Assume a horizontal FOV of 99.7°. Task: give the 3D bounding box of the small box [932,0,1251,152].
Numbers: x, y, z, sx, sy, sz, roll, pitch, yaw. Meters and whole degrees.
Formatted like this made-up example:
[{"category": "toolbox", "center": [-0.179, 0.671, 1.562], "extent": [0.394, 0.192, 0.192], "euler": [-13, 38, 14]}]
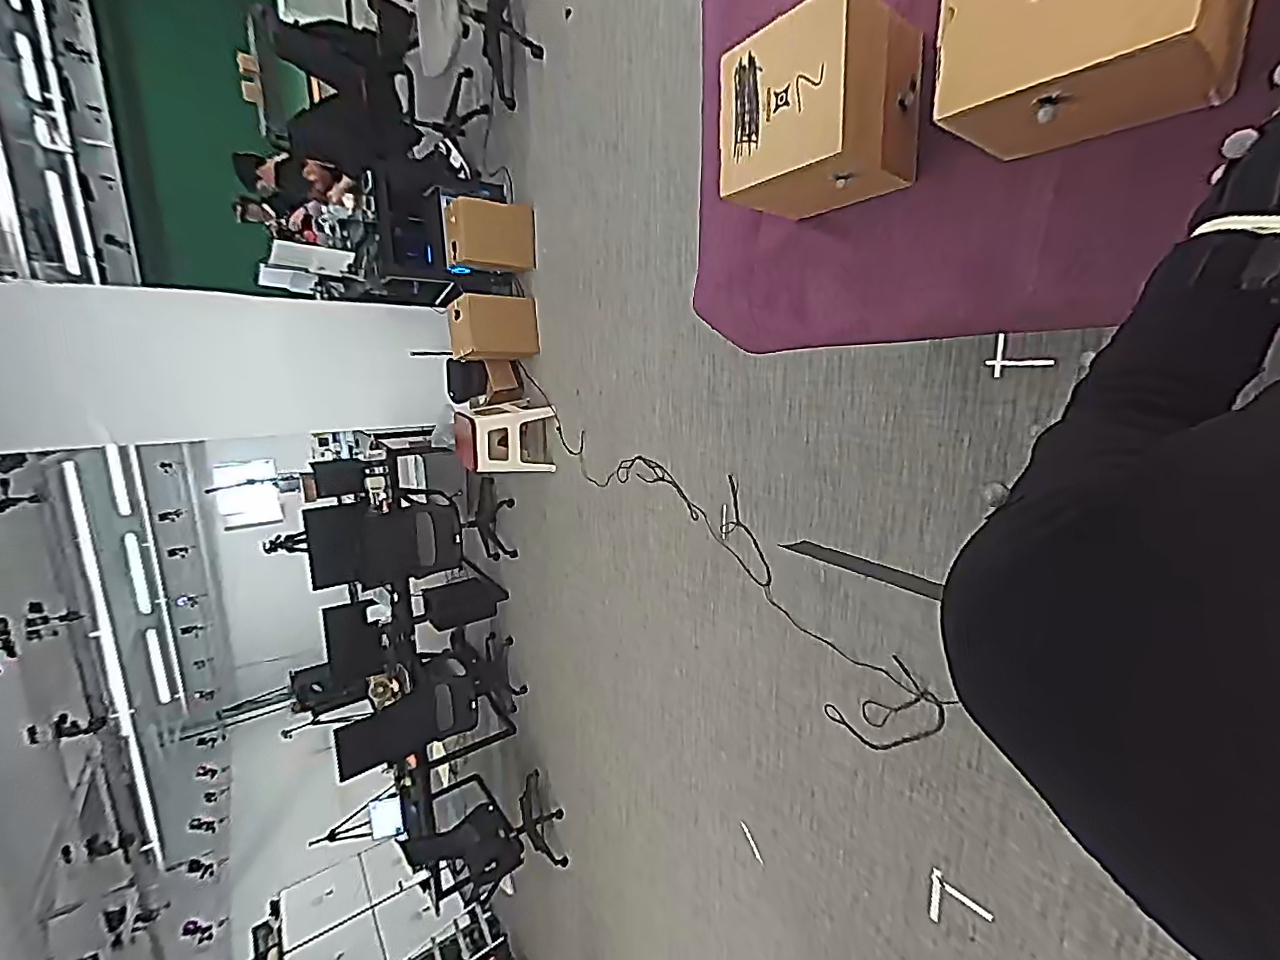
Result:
[{"category": "small box", "center": [0.381, -0.403, 0.453], "extent": [0.179, 0.176, 0.168], "euler": [16, 111, 53]}]
